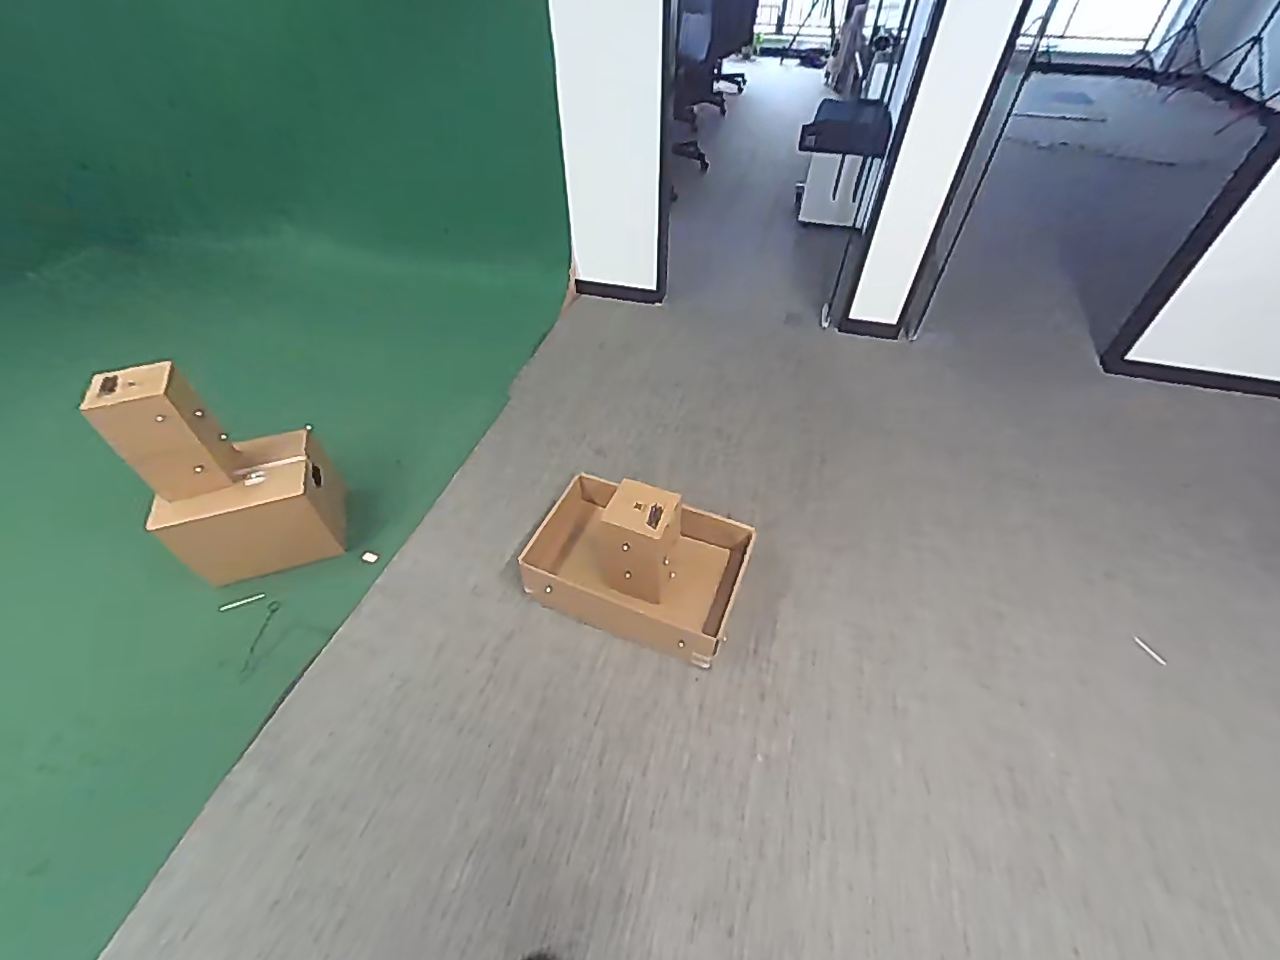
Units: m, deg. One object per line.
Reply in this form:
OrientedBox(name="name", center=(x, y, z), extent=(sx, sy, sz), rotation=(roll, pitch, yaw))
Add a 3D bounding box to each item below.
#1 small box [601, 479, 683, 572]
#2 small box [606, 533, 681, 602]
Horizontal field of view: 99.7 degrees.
OrientedBox(name="small box", center=(0.009, 0.131, 1.500), extent=(0.179, 0.176, 0.168), rotation=(17, 50, 17))
OrientedBox(name="small box", center=(0.013, 0.241, 1.621), extent=(0.179, 0.176, 0.168), rotation=(17, 50, 16))
